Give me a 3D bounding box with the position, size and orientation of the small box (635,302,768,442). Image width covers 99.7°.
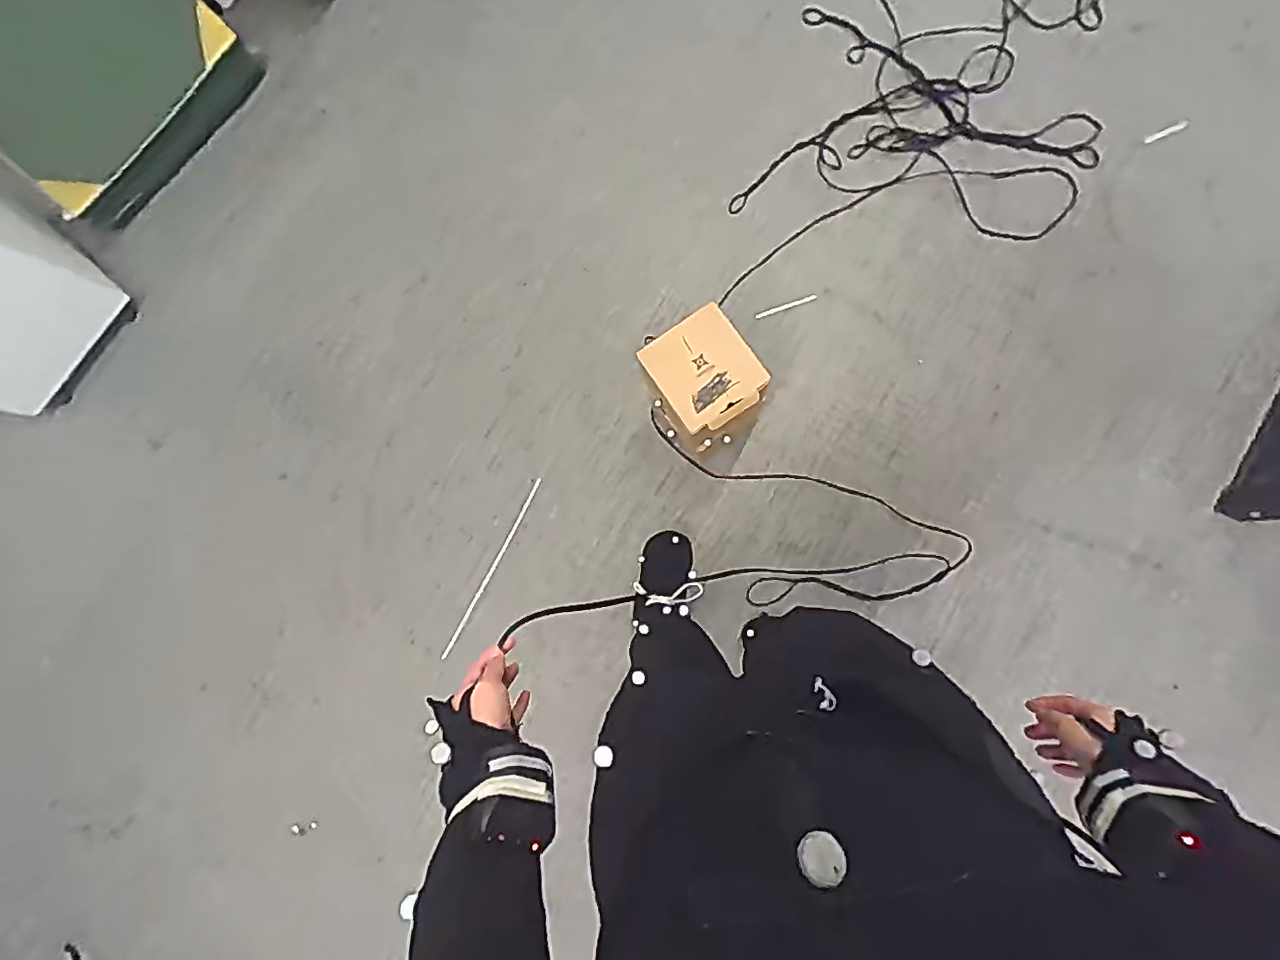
[{"bbox_3d":[0.114,-0.184,0.997,0.168,0.176,0.179,-34,81,1],"label":"small box"}]

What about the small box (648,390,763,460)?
[{"bbox_3d":[0.141,-0.162,1.158,0.179,0.176,0.168,-39,81,1],"label":"small box"}]
